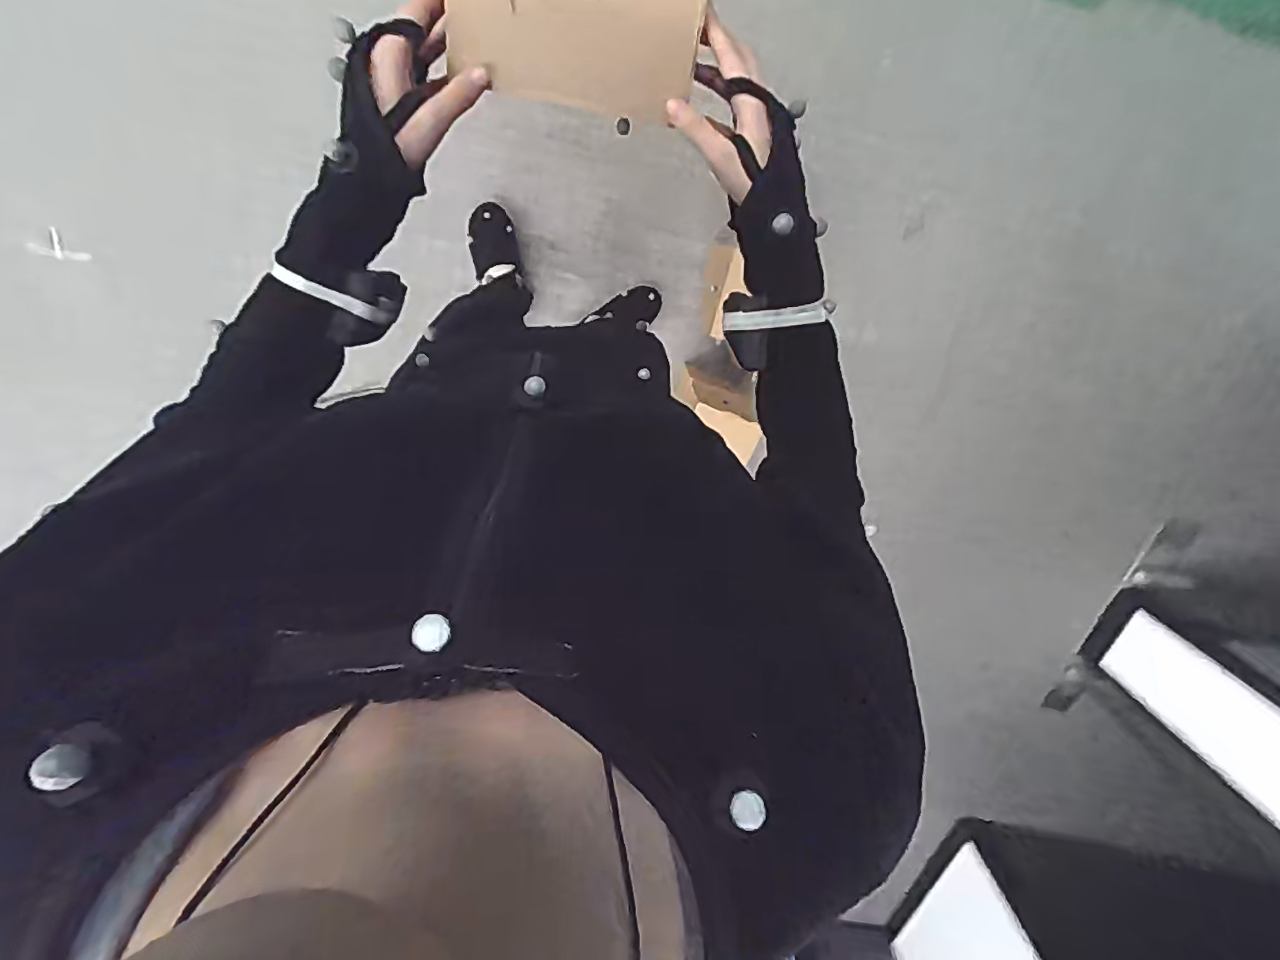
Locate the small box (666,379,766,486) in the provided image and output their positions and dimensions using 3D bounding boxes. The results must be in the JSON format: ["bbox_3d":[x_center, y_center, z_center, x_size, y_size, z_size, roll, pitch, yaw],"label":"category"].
[{"bbox_3d":[0.166,-0.119,1.272,0.168,0.176,0.179,20,112,-10],"label":"small box"}]

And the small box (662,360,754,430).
[{"bbox_3d":[0.170,-0.200,1.416,0.179,0.176,0.168,21,112,-10],"label":"small box"}]
